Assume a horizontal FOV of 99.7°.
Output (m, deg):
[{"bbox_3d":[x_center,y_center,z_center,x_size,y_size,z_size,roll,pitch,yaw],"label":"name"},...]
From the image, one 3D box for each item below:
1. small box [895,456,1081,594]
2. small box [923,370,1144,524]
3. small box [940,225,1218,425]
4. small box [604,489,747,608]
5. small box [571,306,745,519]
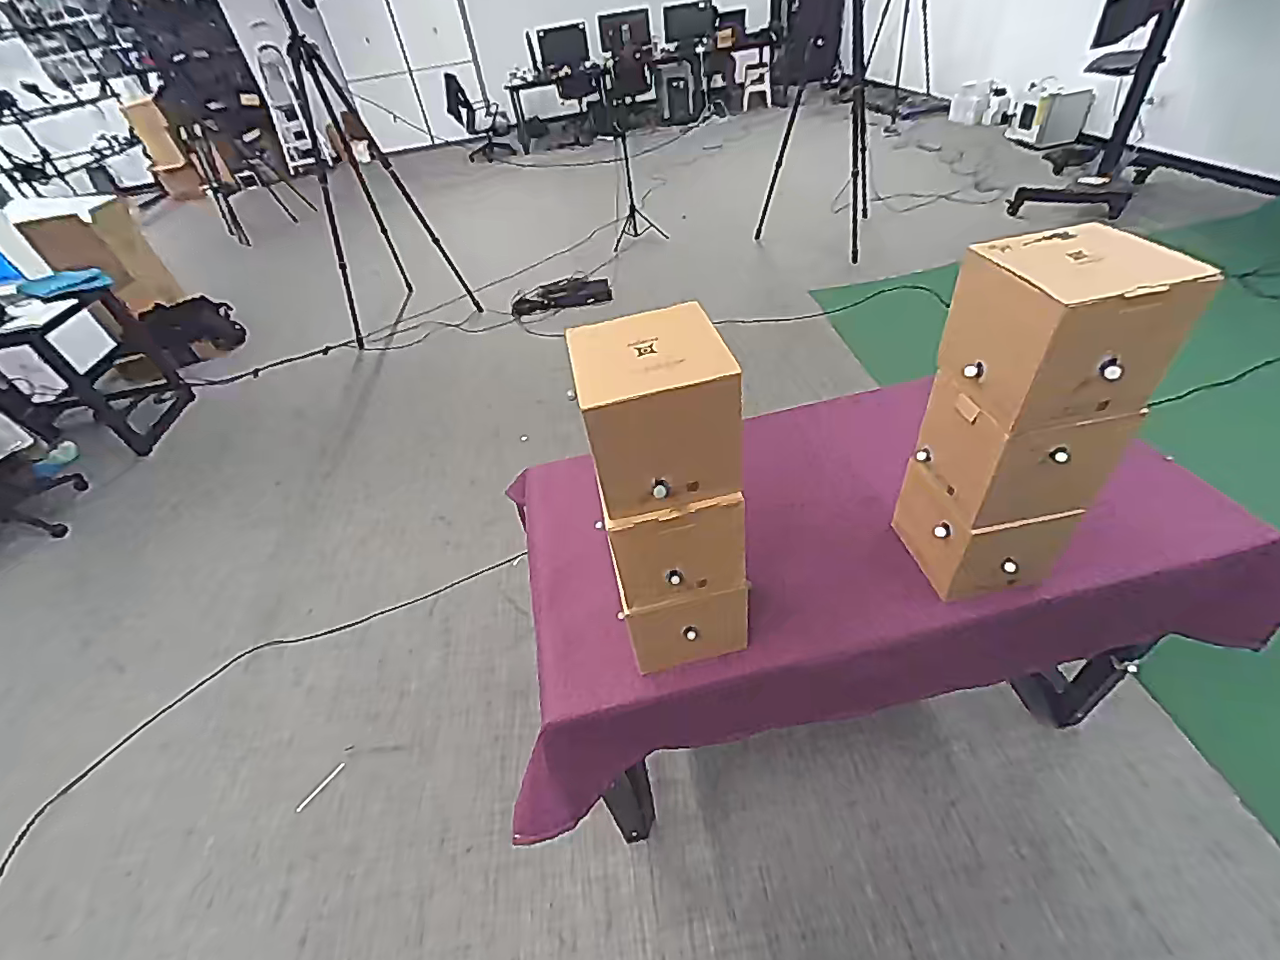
[{"bbox_3d":[0.541,0.066,0.871,0.168,0.176,0.179,-10,42,-1],"label":"small box"},{"bbox_3d":[0.527,-0.057,0.762,0.179,0.176,0.168,-10,43,-1],"label":"small box"},{"bbox_3d":[0.503,-0.182,0.657,0.168,0.176,0.179,-10,43,-1],"label":"small box"},{"bbox_3d":[0.041,0.046,0.746,0.168,0.176,0.179,-13,43,-3],"label":"small box"},{"bbox_3d":[0.020,-0.081,0.644,0.168,0.176,0.179,-13,43,-2],"label":"small box"}]
